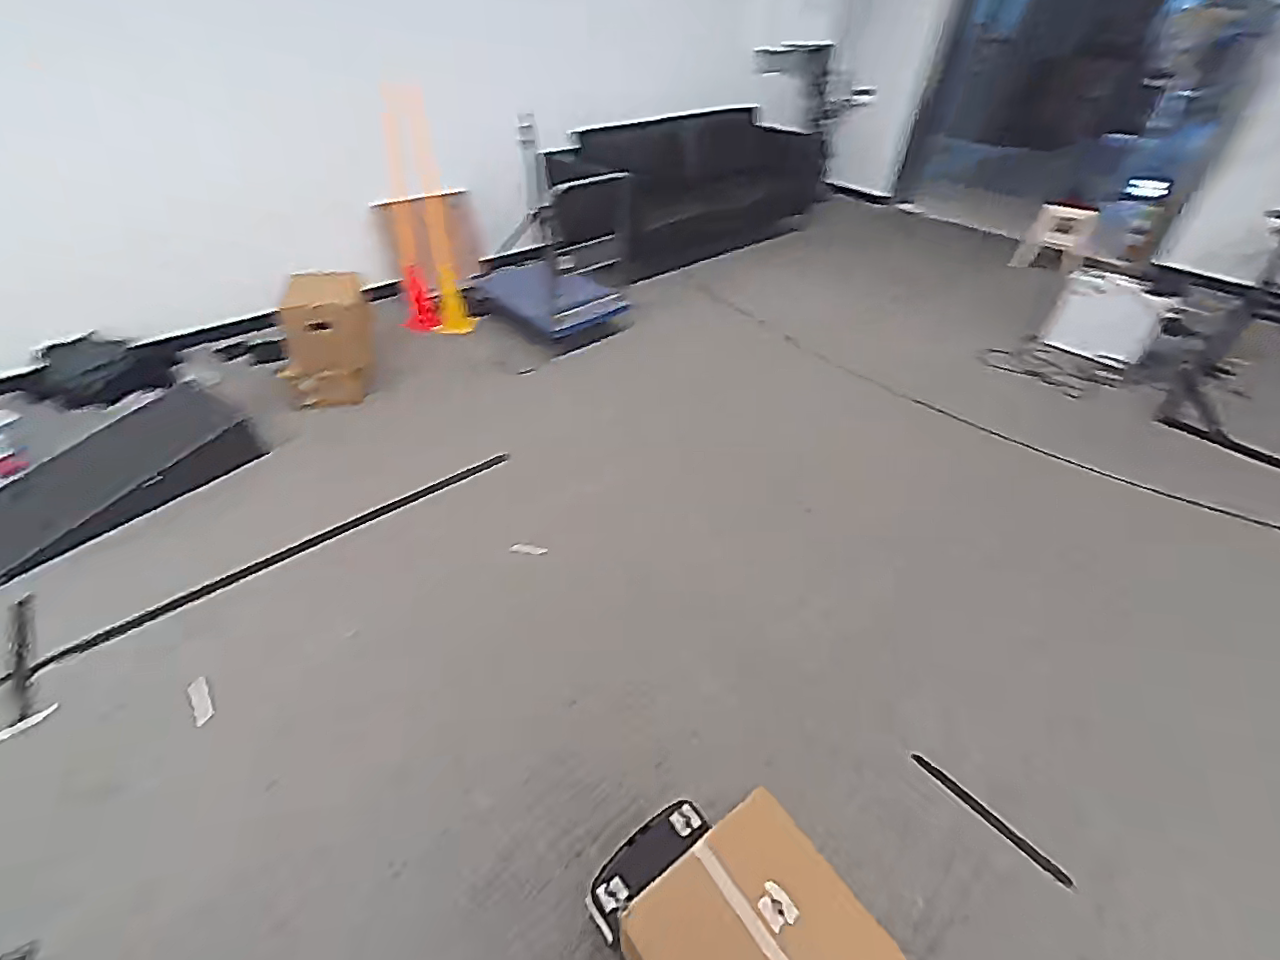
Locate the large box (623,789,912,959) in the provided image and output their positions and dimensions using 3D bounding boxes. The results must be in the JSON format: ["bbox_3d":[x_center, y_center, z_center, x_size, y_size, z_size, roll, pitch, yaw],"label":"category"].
[{"bbox_3d":[0.214,0.809,0.851,0.320,0.320,0.408,-25,47,-27],"label":"large box"}]

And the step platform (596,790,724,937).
[{"bbox_3d":[0.192,0.976,1.023,0.286,0.204,0.684,-23,46,-25],"label":"step platform"}]
